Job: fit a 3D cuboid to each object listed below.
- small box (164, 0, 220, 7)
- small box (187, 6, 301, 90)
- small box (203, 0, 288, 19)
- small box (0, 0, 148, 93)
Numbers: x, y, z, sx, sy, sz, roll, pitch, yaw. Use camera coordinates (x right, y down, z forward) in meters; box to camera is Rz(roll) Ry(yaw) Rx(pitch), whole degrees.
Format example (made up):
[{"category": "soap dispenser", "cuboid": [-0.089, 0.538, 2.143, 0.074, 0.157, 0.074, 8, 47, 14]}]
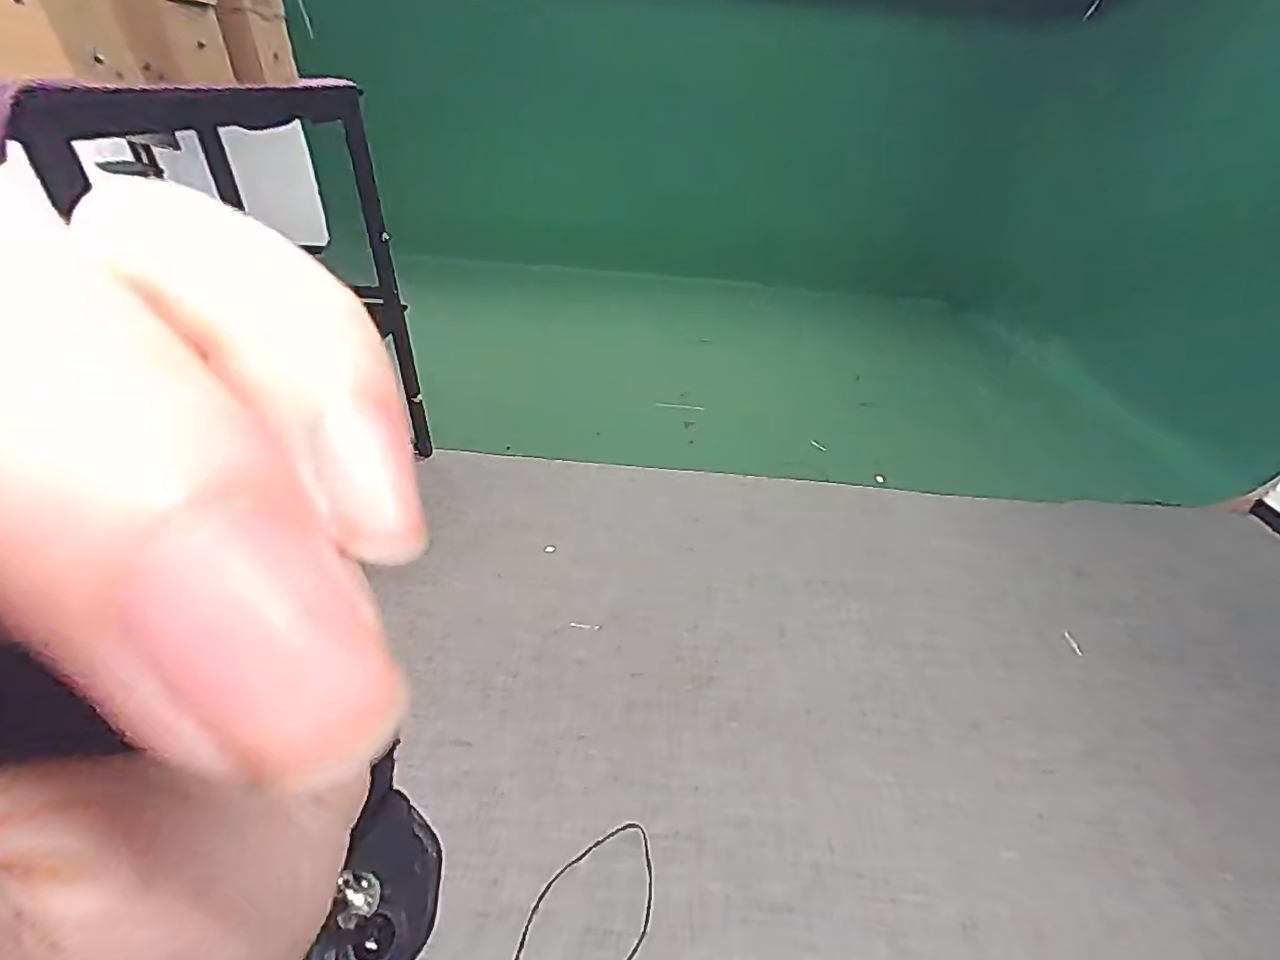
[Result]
[{"category": "small box", "cuboid": [-1.094, -1.173, 1.195, 0.179, 0.176, 0.168, 7, 37, 2]}, {"category": "small box", "cuboid": [-1.099, -1.208, 1.521, 0.179, 0.176, 0.168, 6, 36, 0]}, {"category": "small box", "cuboid": [-1.086, -1.344, 1.432, 0.179, 0.176, 0.168, 8, 38, 2]}, {"category": "small box", "cuboid": [-1.111, -0.844, 1.024, 0.179, 0.176, 0.168, 2, 36, -2]}]
